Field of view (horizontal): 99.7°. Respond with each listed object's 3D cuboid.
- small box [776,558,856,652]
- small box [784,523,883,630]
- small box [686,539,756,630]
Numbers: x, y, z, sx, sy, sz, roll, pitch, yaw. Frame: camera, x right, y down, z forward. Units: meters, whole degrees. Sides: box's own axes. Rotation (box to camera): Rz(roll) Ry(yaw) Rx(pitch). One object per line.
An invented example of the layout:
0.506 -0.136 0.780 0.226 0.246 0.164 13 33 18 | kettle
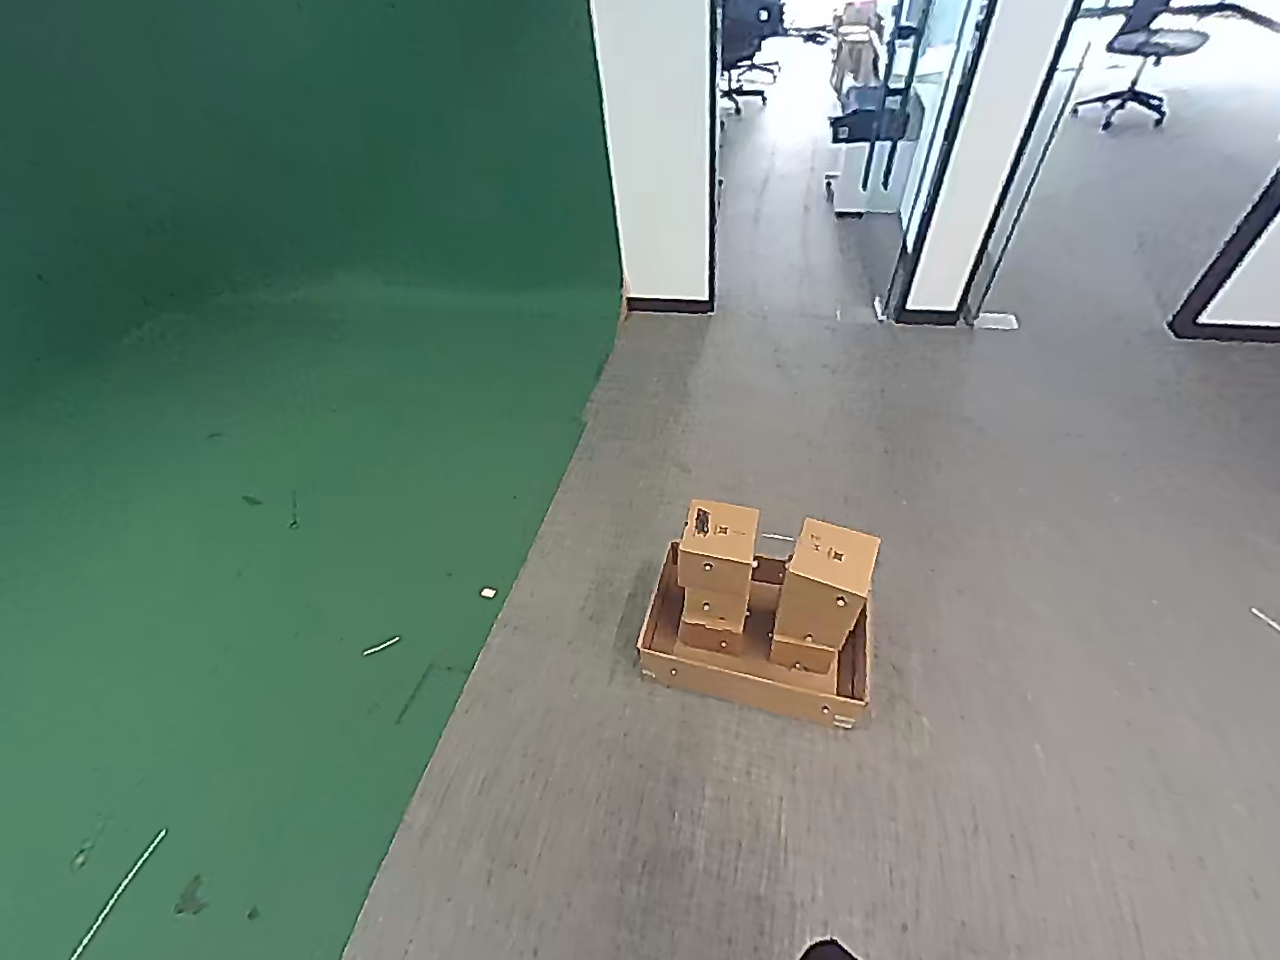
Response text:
0.467 0.333 1.426 0.179 0.176 0.168 11 51 16 | small box
0.457 0.235 1.292 0.179 0.176 0.168 17 53 22 | small box
0.225 0.293 1.499 0.168 0.176 0.179 8 50 11 | small box
